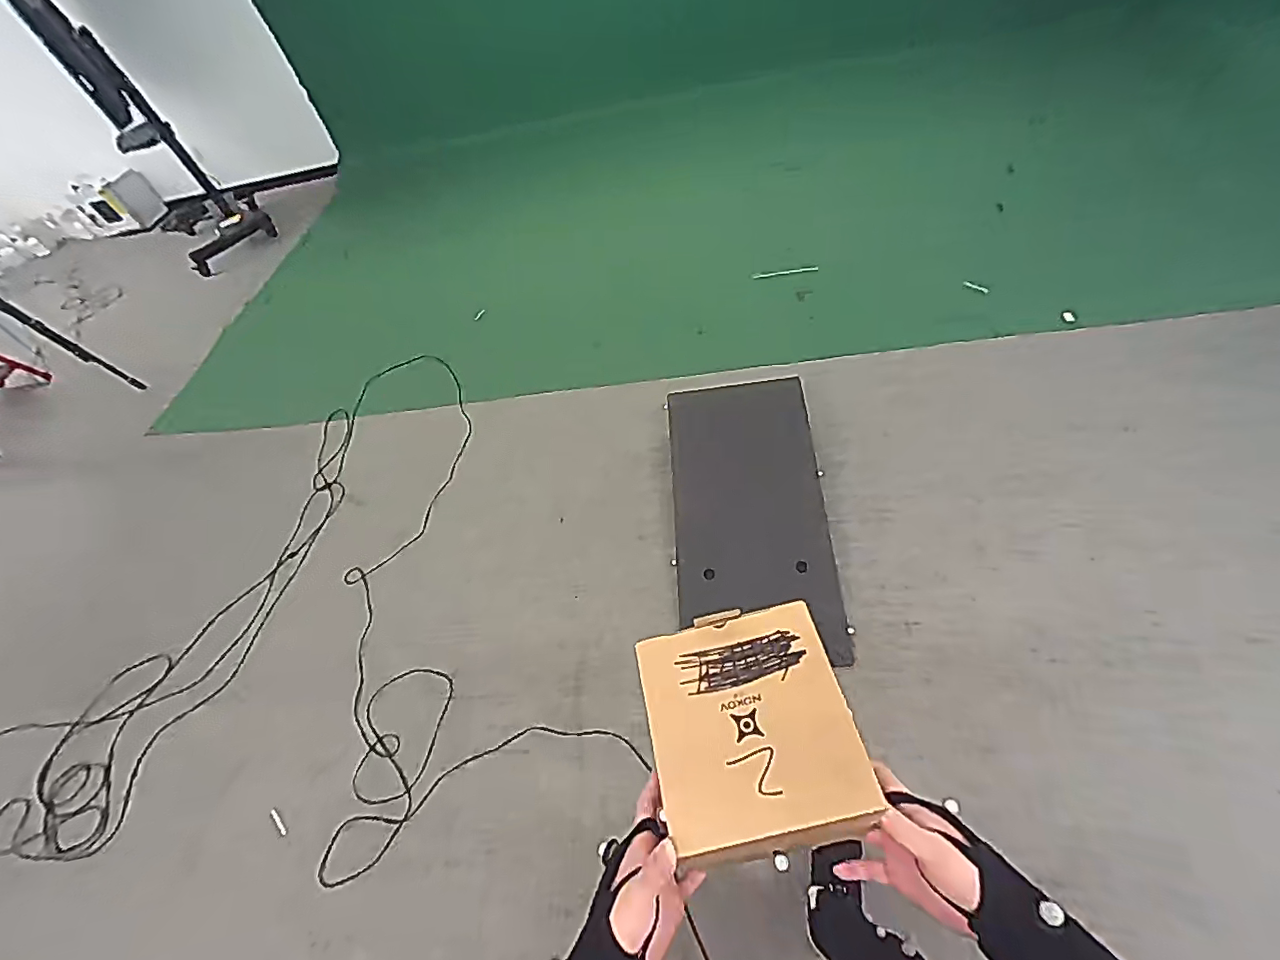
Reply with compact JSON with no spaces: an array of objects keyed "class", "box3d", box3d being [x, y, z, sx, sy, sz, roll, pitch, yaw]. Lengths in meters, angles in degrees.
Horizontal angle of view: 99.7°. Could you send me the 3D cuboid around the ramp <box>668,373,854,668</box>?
[{"class":"ramp","box3d":[0.358,0.084,1.776,0.509,0.206,0.991,-7,53,7]}]
